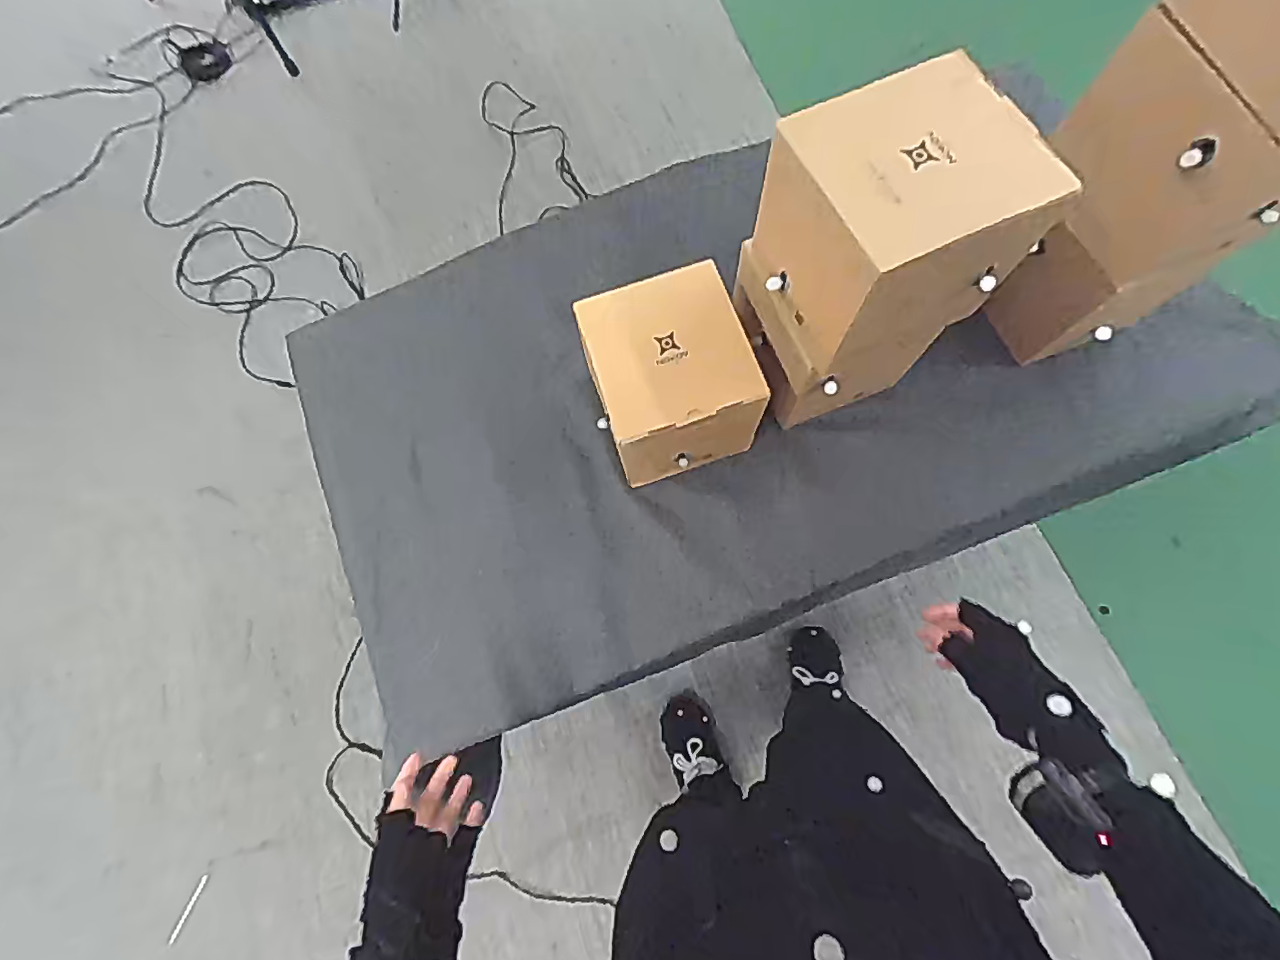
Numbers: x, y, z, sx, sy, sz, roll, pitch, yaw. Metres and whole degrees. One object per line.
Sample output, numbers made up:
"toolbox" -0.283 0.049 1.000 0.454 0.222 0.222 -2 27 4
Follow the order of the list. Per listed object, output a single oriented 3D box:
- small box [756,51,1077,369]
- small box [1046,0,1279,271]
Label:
"small box" 0.228 -0.234 0.503 0.179 0.176 0.168 -23 73 -3
"small box" 0.535 -0.325 0.509 0.168 0.176 0.179 -19 73 -2
